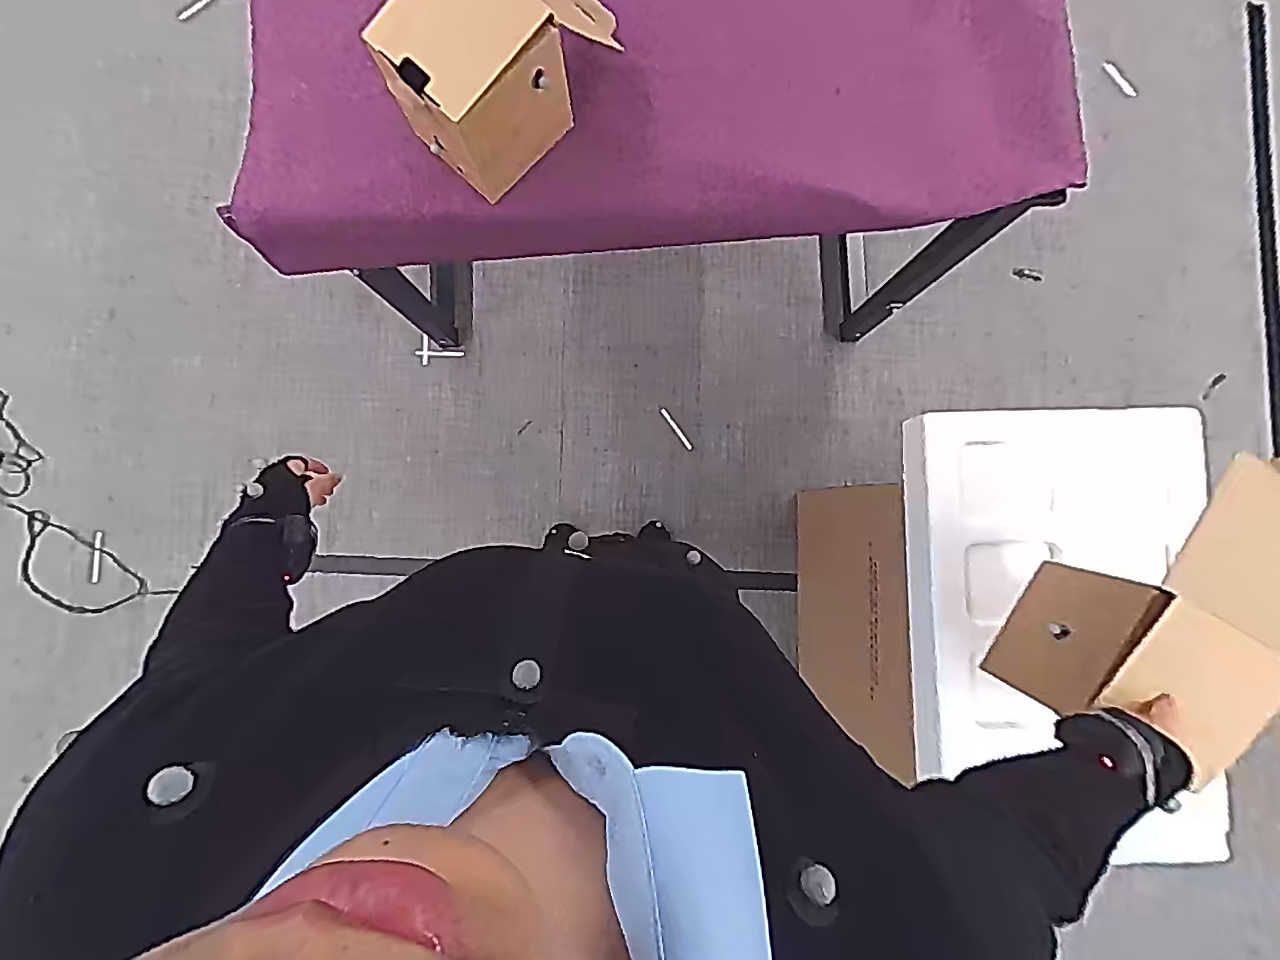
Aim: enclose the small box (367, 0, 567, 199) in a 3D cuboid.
[{"bbox_3d":[-0.214,-0.532,0.729,0.168,0.176,0.179,44,87,4],"label":"small box"}]
